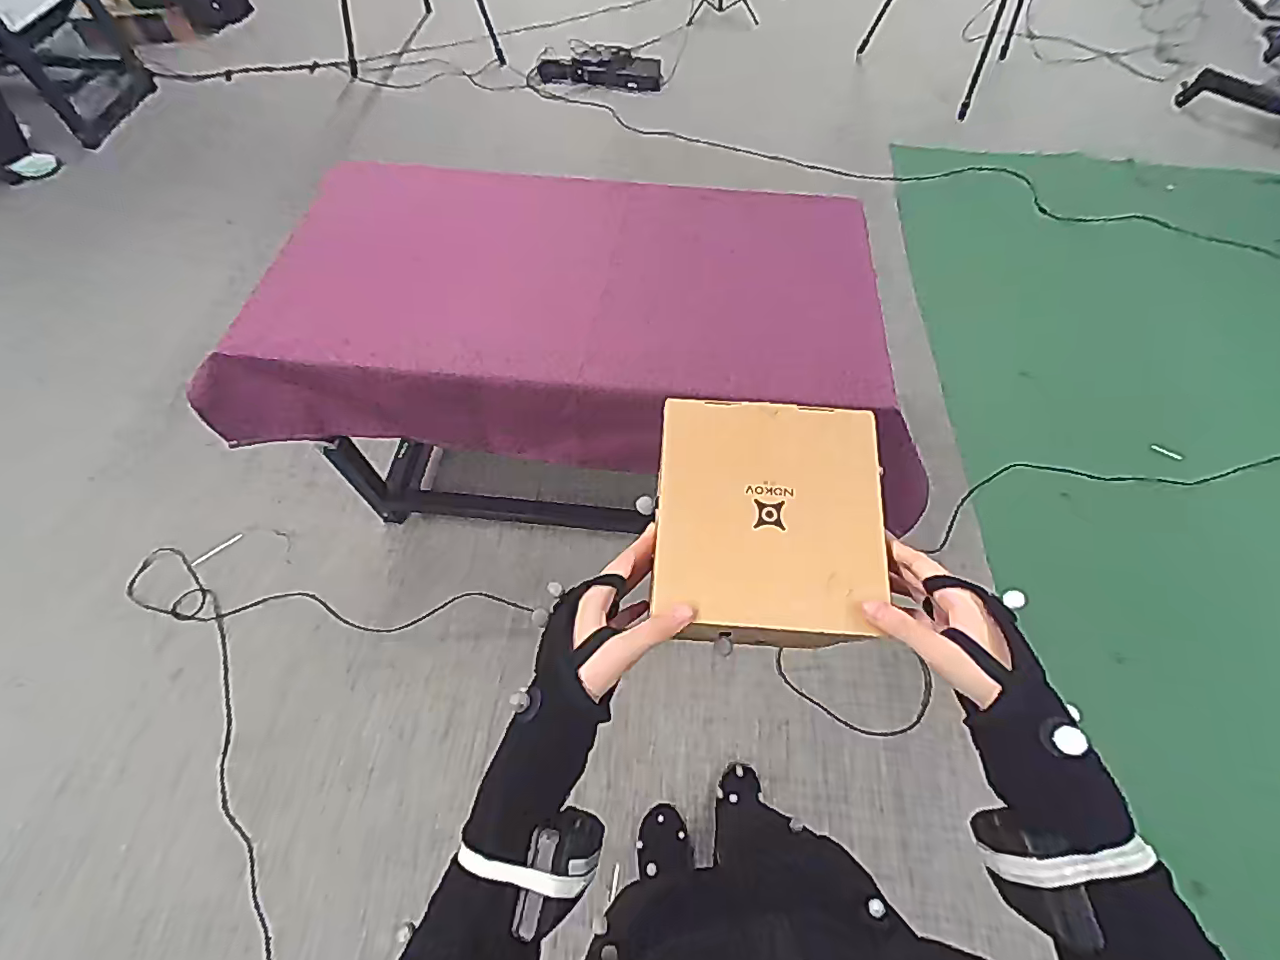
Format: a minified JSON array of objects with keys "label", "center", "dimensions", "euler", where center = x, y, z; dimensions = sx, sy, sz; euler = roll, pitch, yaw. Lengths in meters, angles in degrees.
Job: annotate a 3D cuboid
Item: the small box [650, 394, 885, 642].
[{"label":"small box","center":[0.097,0.044,0.480],"dimensions":[0.168,0.176,0.179],"euler":[4,68,2]}]
